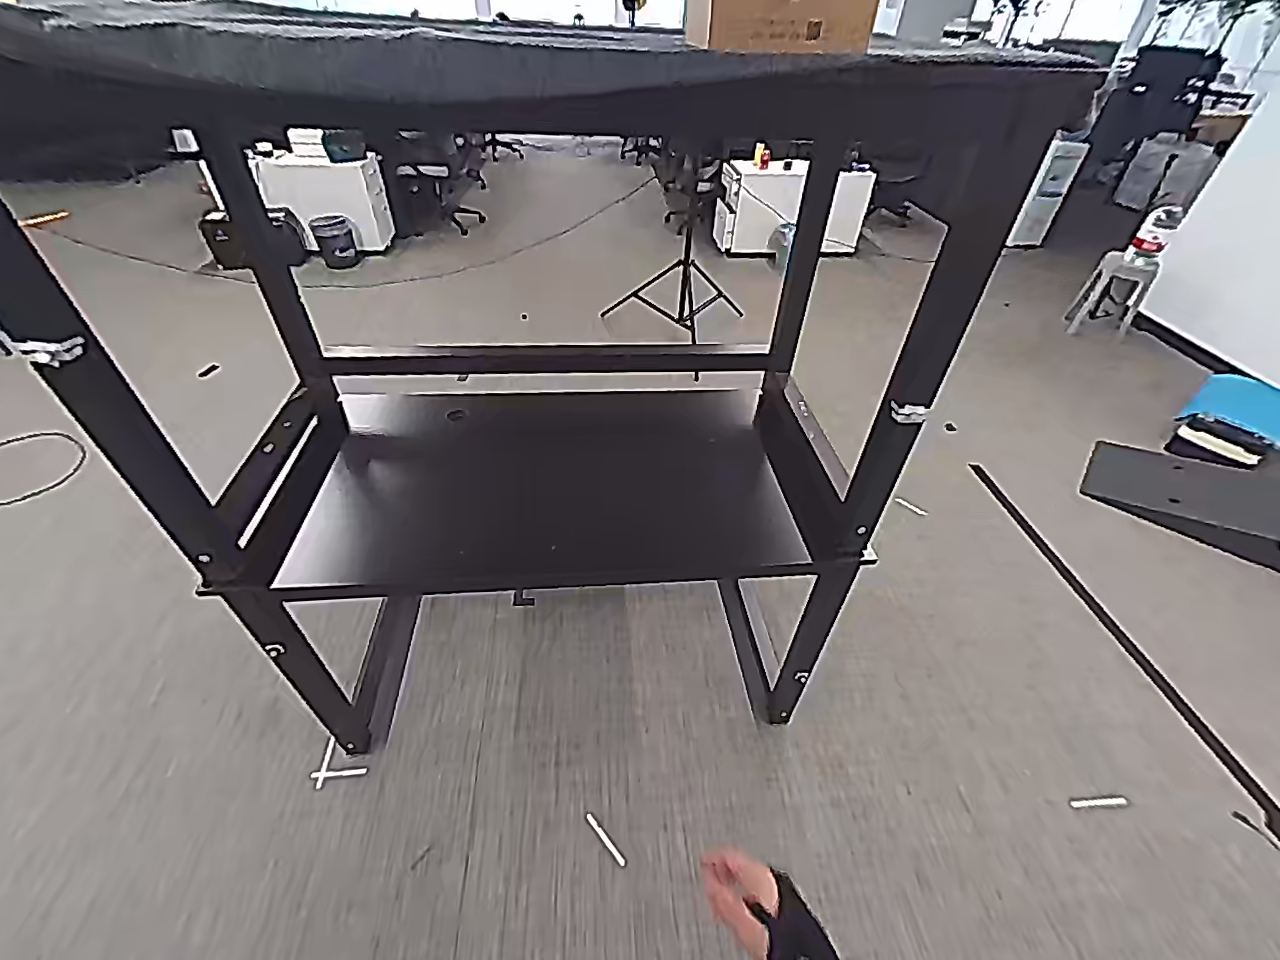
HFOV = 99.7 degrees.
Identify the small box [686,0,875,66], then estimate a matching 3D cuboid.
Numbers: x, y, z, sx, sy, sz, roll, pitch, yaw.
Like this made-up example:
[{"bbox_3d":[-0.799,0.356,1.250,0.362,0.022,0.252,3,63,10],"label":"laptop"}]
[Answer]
[{"bbox_3d":[0.143,-0.542,0.558,0.168,0.176,0.179,-2,41,-4],"label":"small box"}]
